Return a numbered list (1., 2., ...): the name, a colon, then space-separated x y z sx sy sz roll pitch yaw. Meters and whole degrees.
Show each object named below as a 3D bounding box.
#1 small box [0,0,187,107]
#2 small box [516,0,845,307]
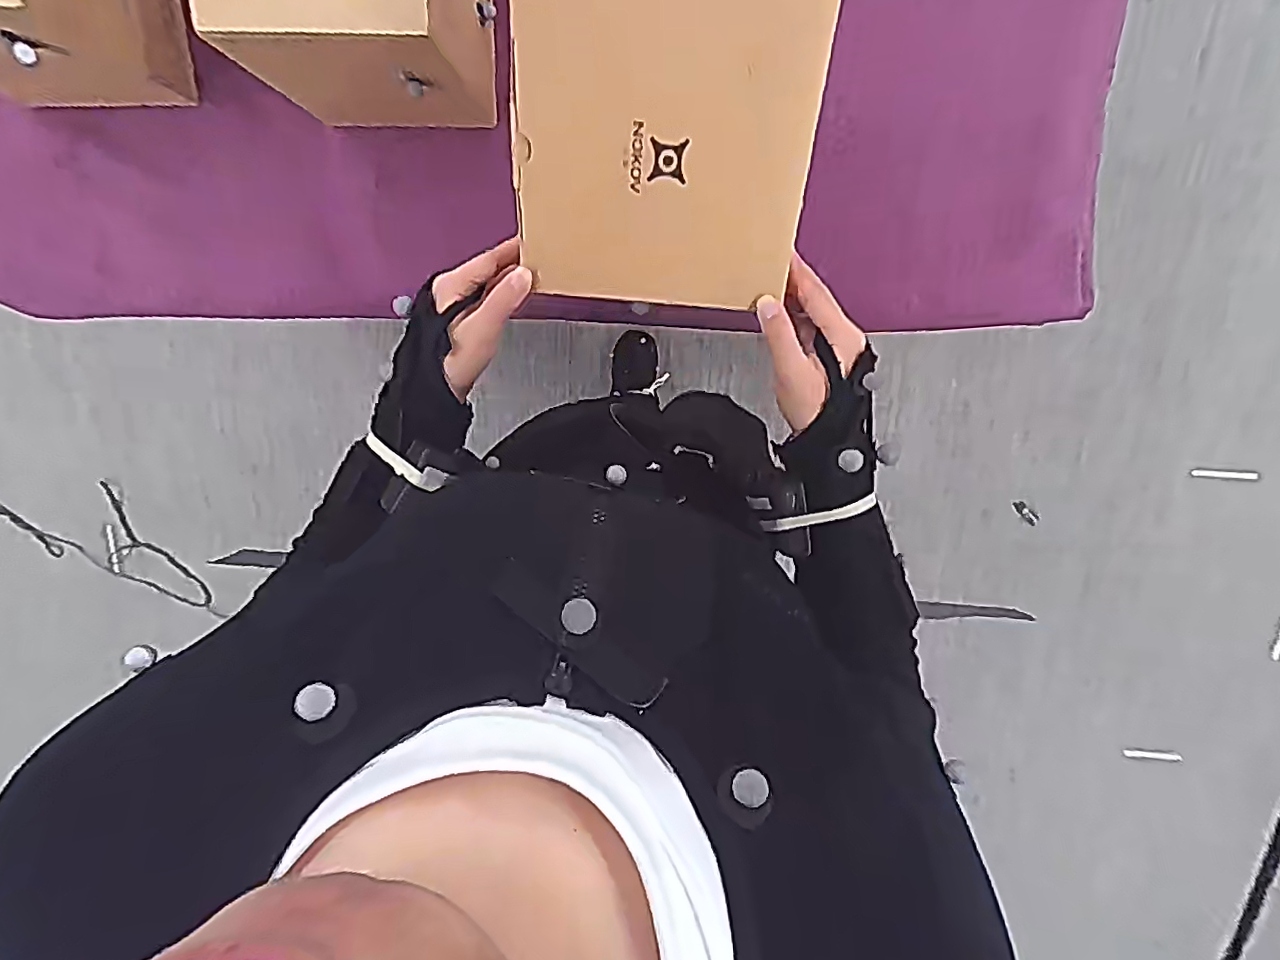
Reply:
1. small box: -0.531 -0.442 0.455 0.179 0.176 0.168 0 103 0
2. small box: 0.020 -0.233 0.389 0.179 0.176 0.168 6 120 2
